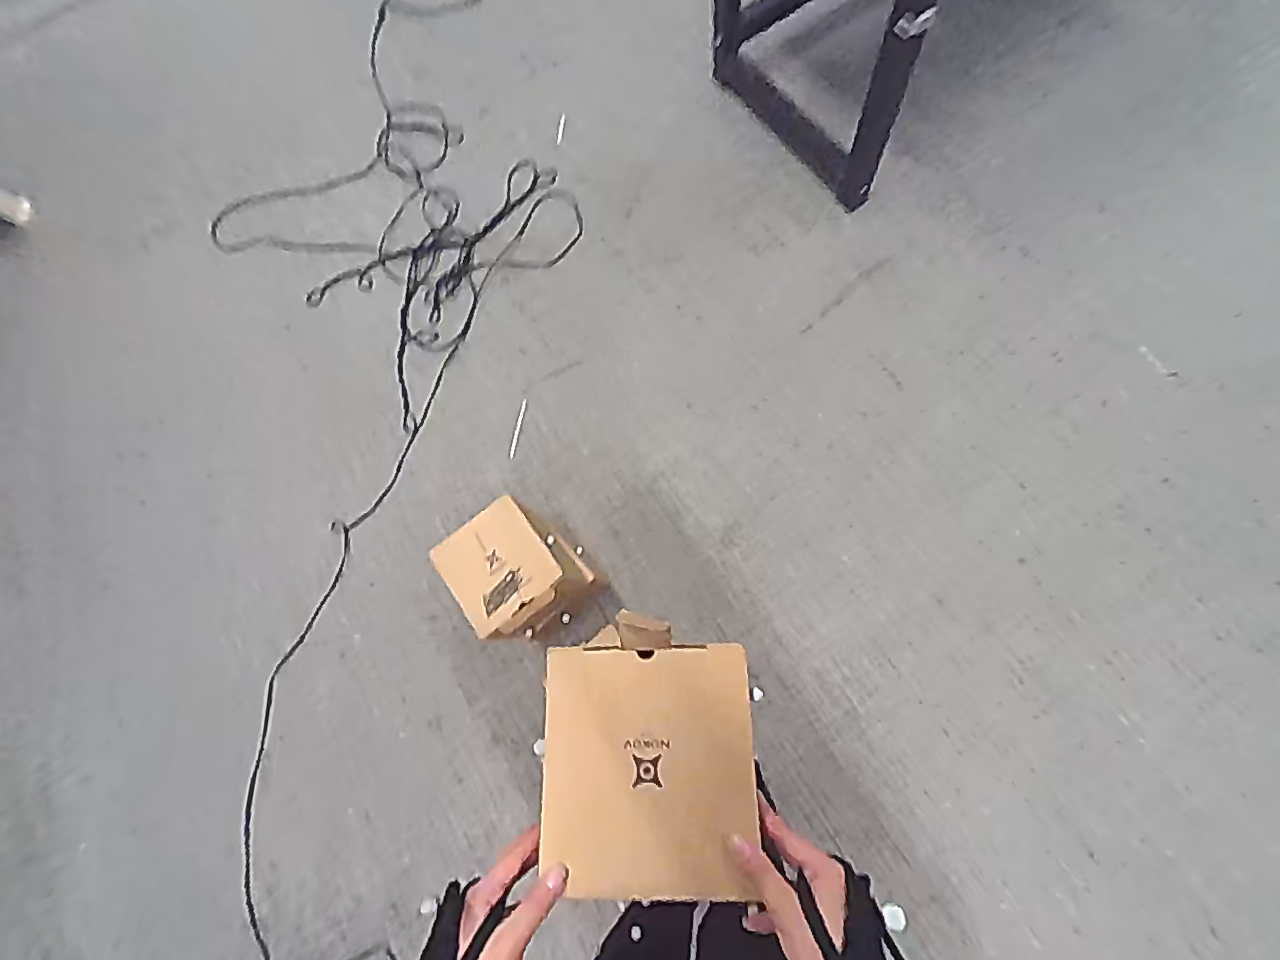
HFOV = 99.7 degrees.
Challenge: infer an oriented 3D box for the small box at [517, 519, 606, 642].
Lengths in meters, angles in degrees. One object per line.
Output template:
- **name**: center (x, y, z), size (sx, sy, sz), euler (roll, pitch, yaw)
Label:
- **small box**: center (-0.191, 0.210, 1.099), size (0.179, 0.176, 0.168), euler (-43, 73, -5)

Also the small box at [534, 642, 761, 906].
- **small box**: center (0.013, 0.242, 0.483), size (0.168, 0.176, 0.179), euler (-1, 68, 5)

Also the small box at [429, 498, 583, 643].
- **small box**: center (-0.222, 0.161, 0.944), size (0.168, 0.176, 0.179), euler (-38, 72, -4)
